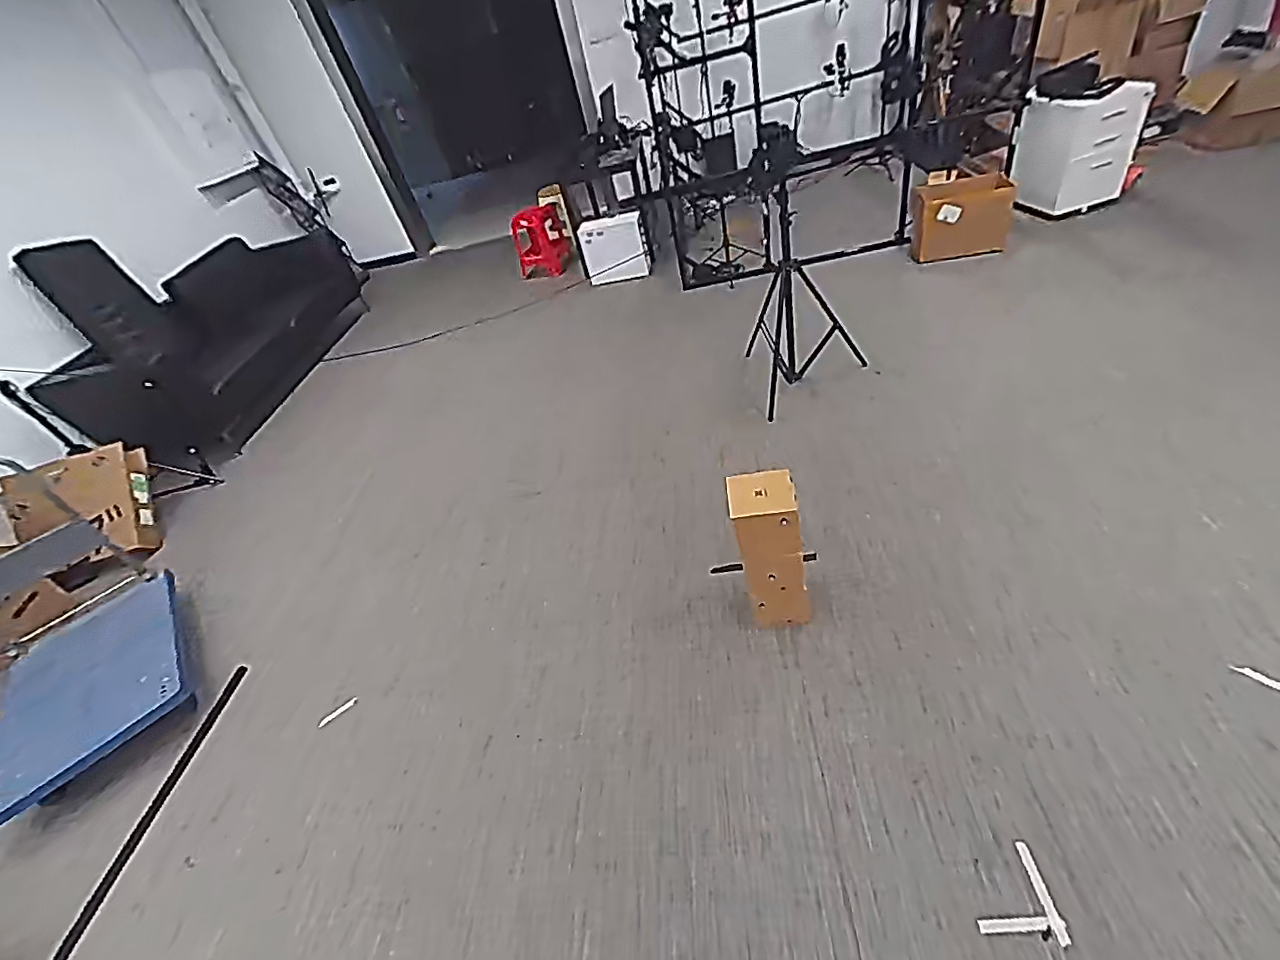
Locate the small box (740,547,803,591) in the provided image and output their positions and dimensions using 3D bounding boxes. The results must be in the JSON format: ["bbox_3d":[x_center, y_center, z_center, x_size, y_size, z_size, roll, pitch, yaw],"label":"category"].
[{"bbox_3d":[0.385,0.214,1.593,0.168,0.176,0.179,-6,41,13],"label":"small box"}]

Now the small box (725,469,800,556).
[{"bbox_3d":[0.337,0.094,1.493,0.179,0.176,0.168,-9,41,10],"label":"small box"}]
